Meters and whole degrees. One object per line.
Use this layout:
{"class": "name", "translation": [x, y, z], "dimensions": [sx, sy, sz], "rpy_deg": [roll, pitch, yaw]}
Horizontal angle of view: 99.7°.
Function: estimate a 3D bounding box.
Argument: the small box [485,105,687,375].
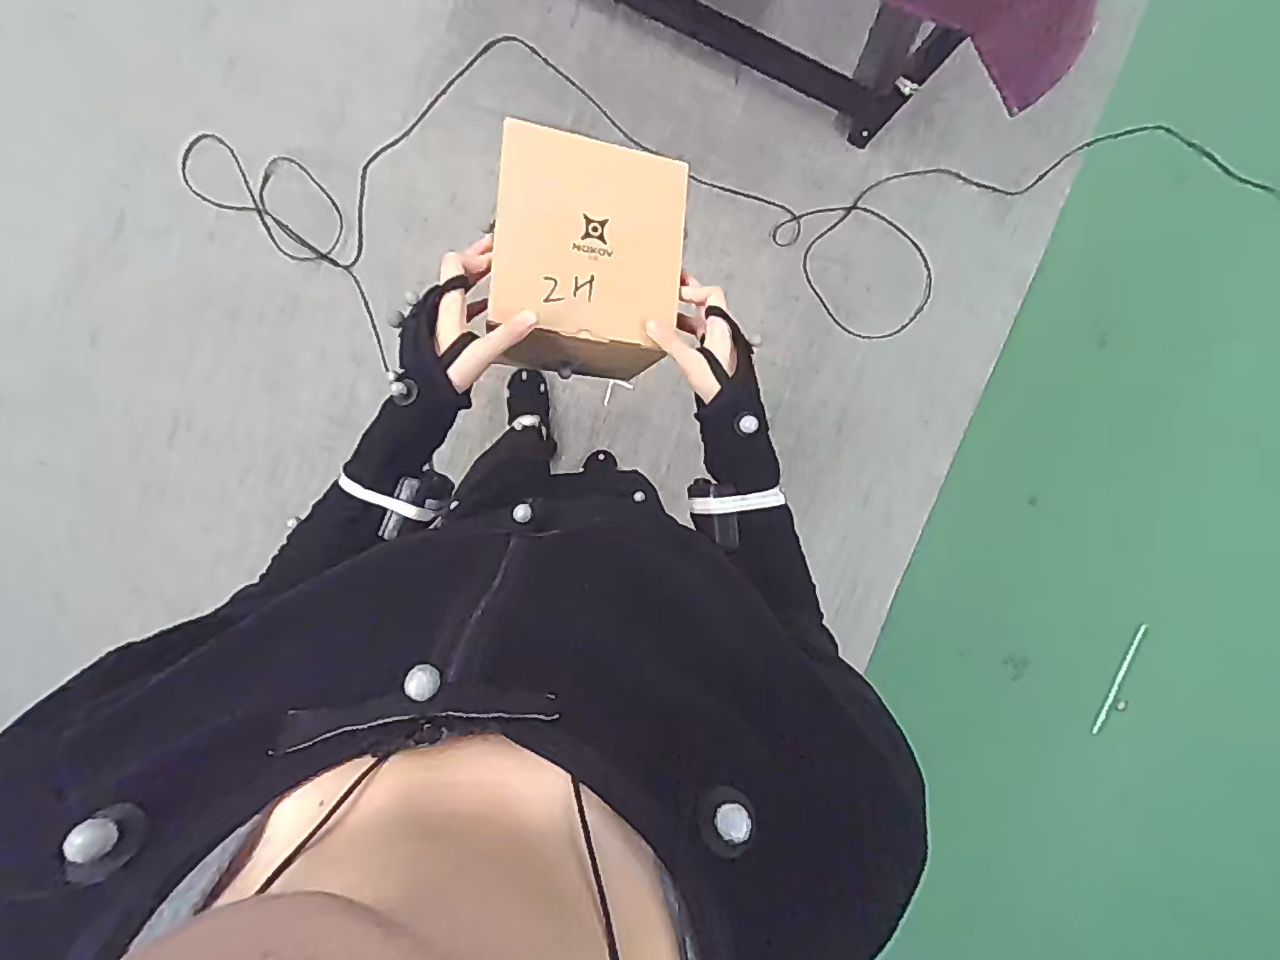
{"class": "small box", "translation": [-0.063, -0.219, 0.545], "dimensions": [0.168, 0.176, 0.179], "rpy_deg": [6, 87, -14]}
